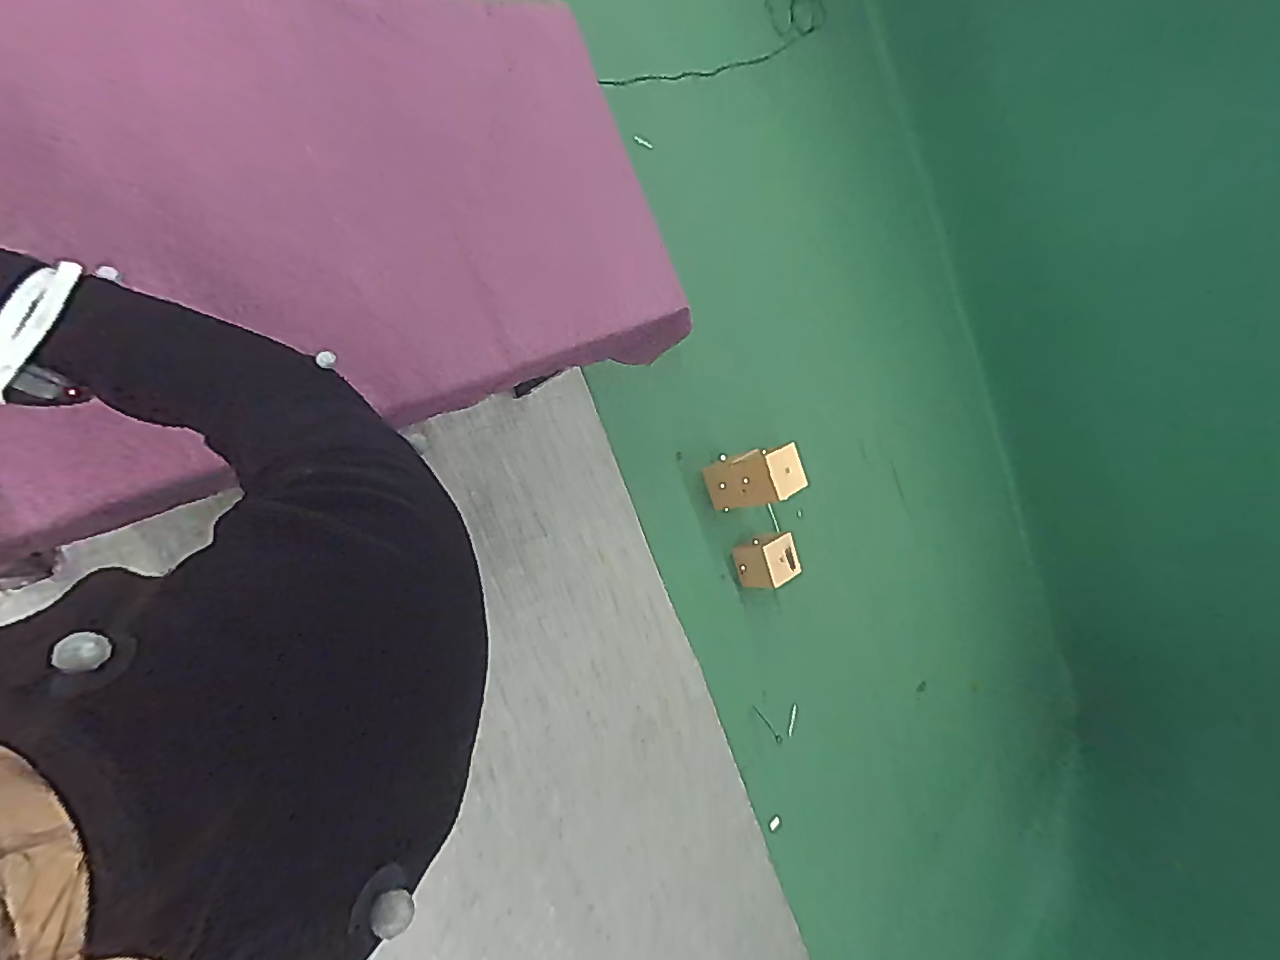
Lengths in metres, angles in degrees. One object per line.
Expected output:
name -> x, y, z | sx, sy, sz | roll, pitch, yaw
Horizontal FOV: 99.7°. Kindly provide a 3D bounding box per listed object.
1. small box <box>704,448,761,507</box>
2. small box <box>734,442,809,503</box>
small box -> 0.377, -0.004, 2.070 | 0.168, 0.176, 0.179 | -24, 96, -36
small box -> 0.470, -0.025, 1.938 | 0.179, 0.176, 0.168 | -24, 96, -36
